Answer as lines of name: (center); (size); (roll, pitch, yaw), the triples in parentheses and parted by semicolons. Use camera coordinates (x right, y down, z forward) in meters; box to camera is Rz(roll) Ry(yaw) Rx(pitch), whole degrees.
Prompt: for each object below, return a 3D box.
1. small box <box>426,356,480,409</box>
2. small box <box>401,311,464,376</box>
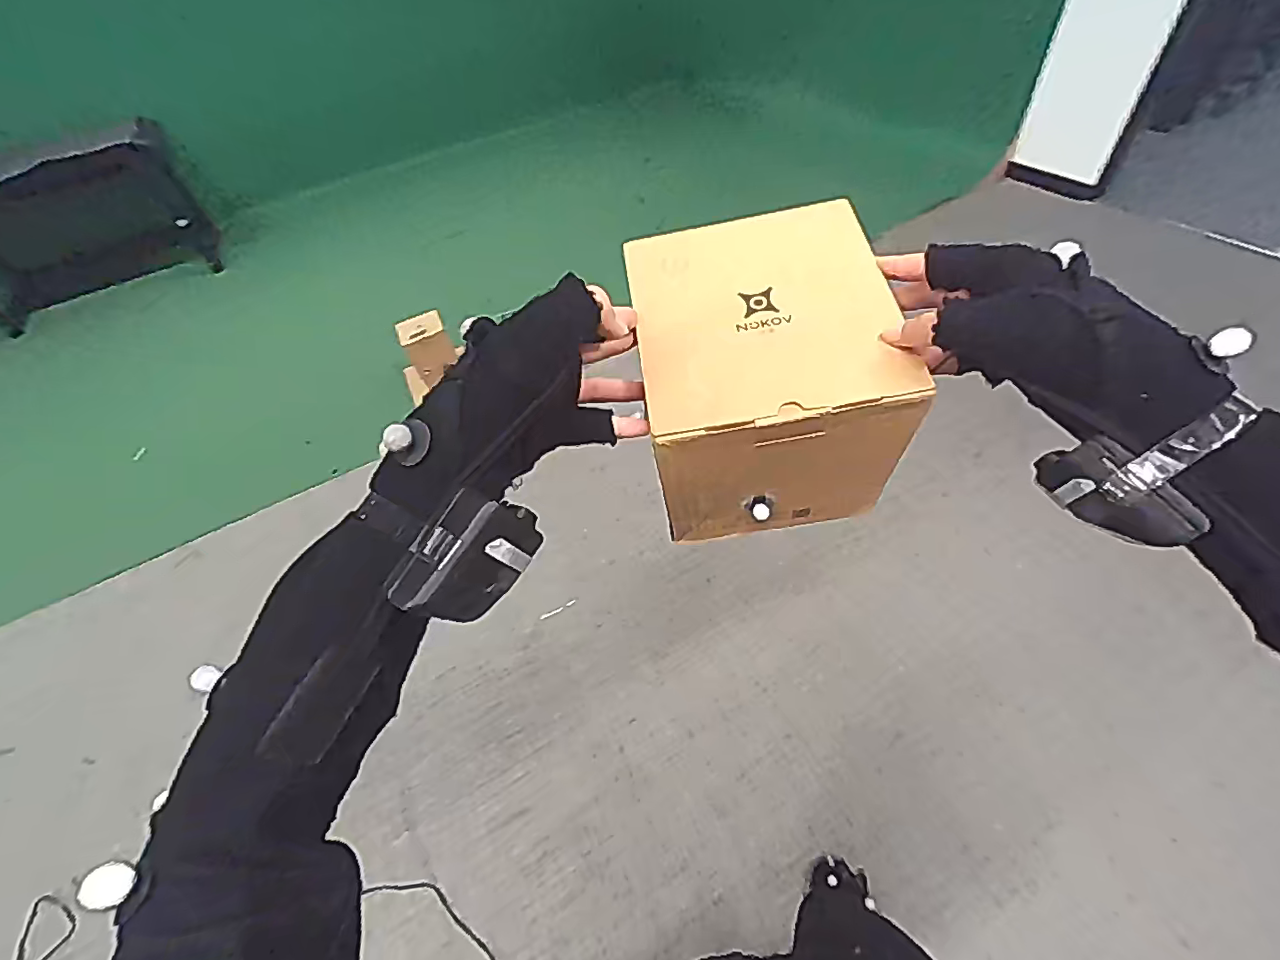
small box: (-0.797, -0.430, 2.277); (0.168, 0.176, 0.179); (-27, 51, -11)
small box: (-0.822, -0.534, 2.152); (0.168, 0.176, 0.179); (-25, 50, -10)
